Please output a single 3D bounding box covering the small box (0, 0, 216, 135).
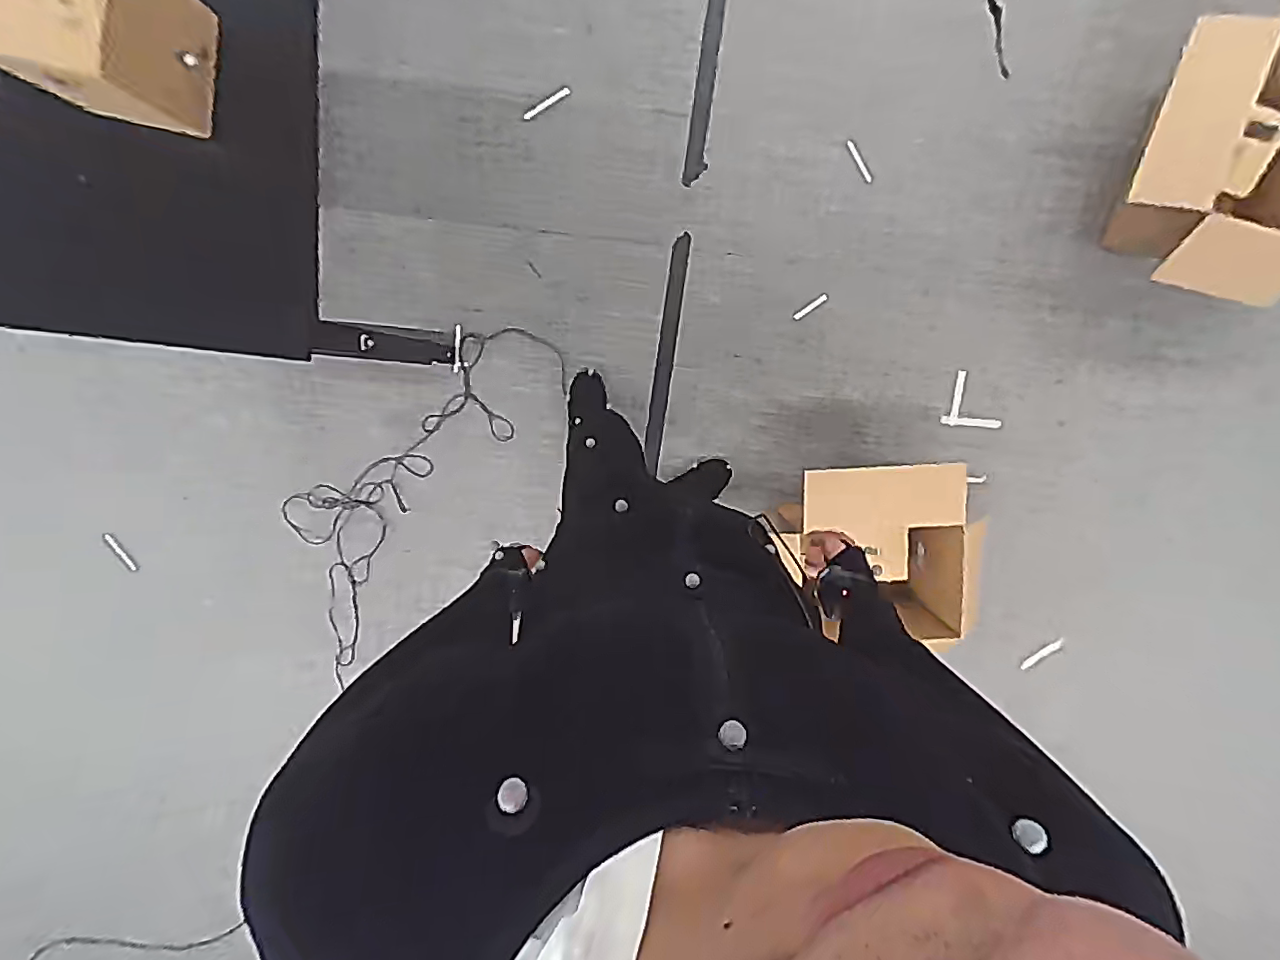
[{"bbox_3d":[-0.710,-0.585,0.707,0.179,0.176,0.168,12,101,-1],"label":"small box"}]
